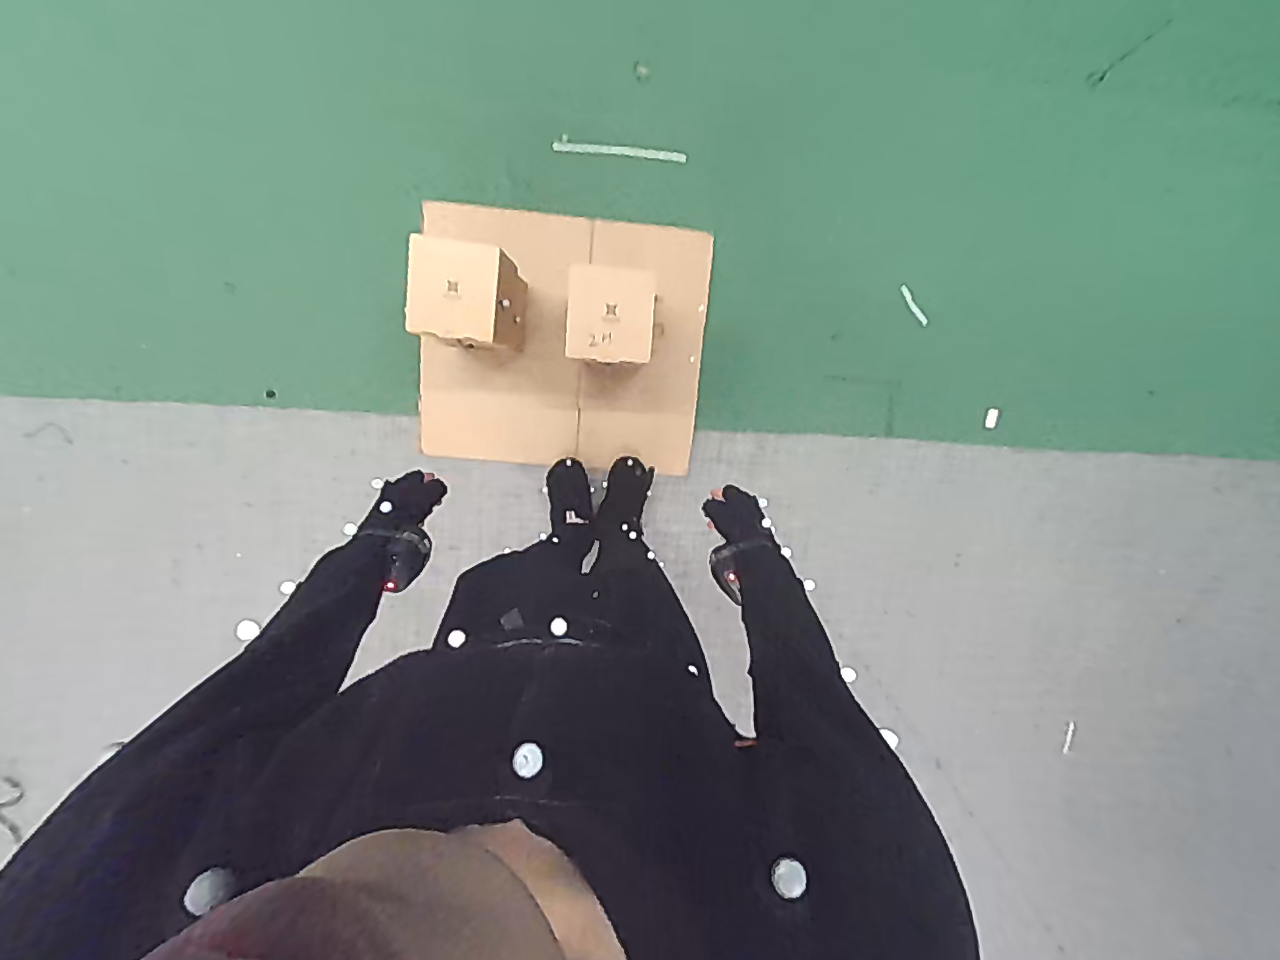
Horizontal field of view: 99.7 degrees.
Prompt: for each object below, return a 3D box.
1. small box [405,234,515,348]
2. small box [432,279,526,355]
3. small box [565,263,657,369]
[{"bbox_3d":[-0.350,-0.367,1.079,0.168,0.176,0.179,7,100,-4],"label":"small box"},{"bbox_3d":[-0.362,-0.385,1.240,0.168,0.176,0.179,6,99,-3],"label":"small box"},{"bbox_3d":[-0.059,-0.324,1.098,0.168,0.176,0.179,4,100,-2],"label":"small box"}]
